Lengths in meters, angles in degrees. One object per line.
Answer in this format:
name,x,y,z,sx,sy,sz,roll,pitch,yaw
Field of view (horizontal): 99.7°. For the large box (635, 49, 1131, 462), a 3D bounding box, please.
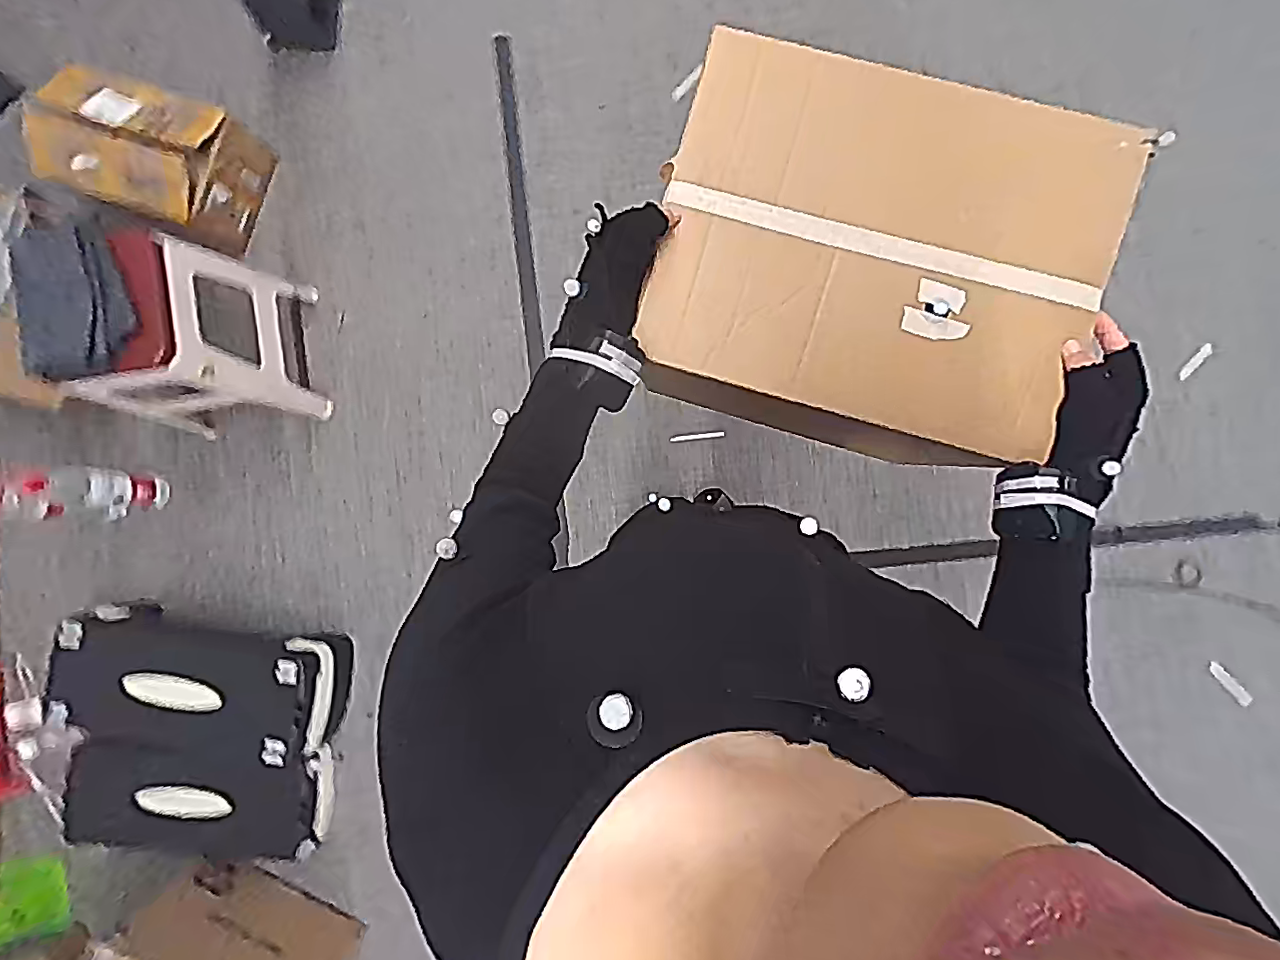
large box,0.233,-0.223,0.667,0.408,0.320,0.320,18,94,3
